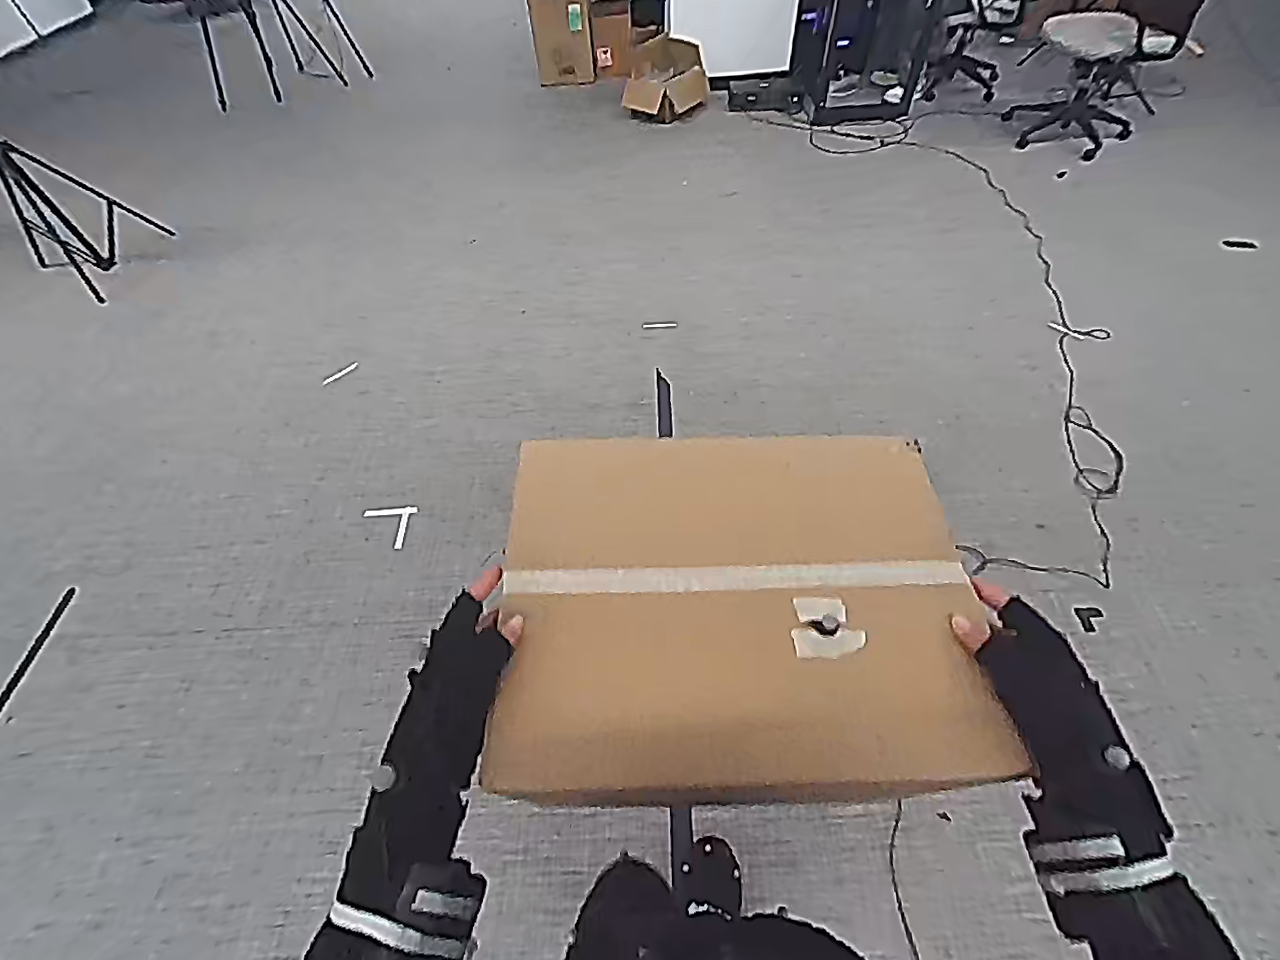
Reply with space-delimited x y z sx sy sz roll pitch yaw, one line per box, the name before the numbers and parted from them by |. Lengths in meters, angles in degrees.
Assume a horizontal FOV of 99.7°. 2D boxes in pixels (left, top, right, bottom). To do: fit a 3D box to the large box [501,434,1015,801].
large box | 0.082 0.165 0.611 0.408 0.320 0.320 -1 57 -2
